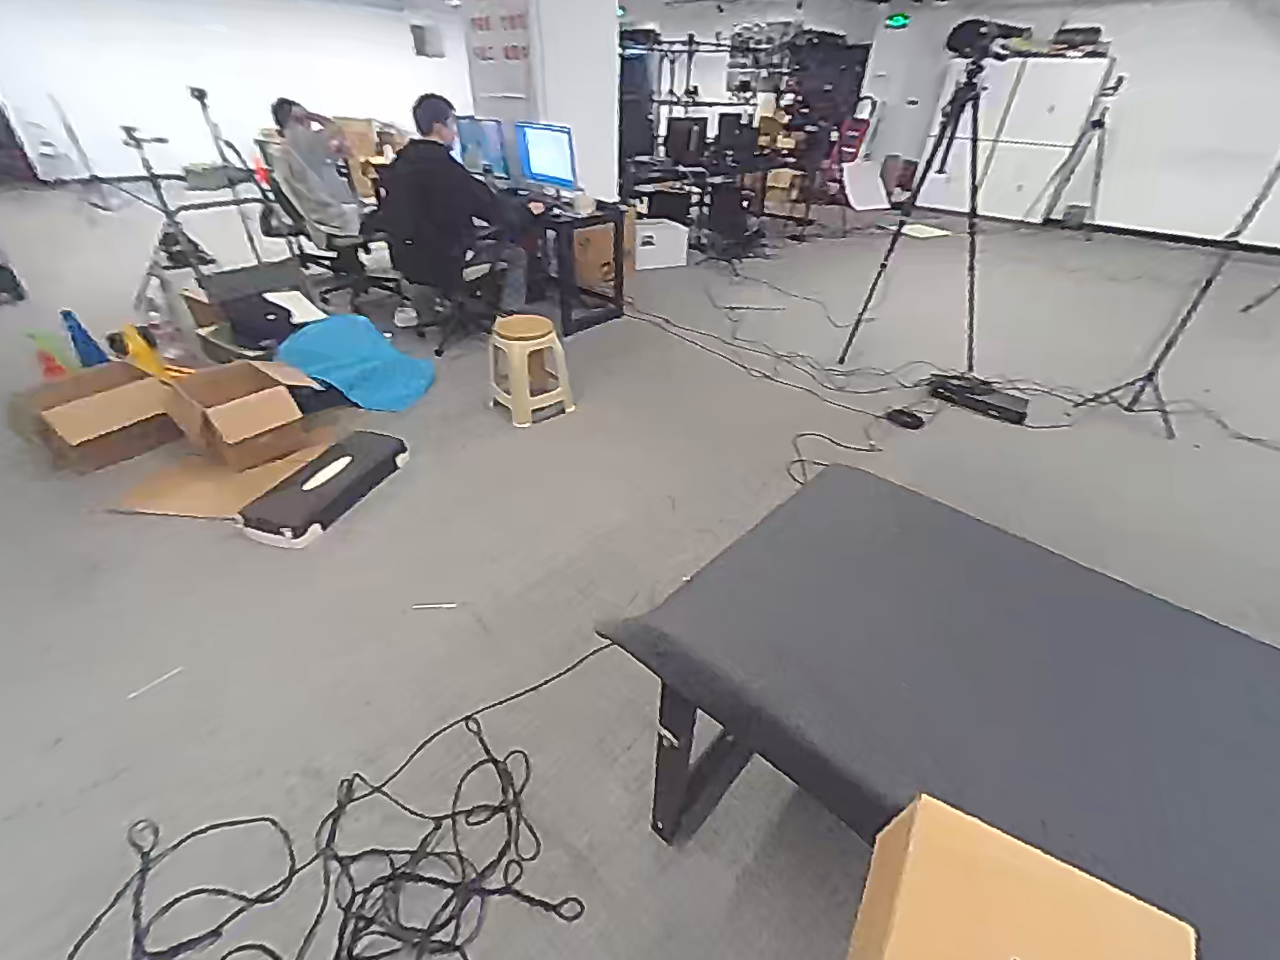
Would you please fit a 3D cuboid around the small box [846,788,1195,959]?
[{"bbox_3d":[0.257,0.372,0.400,0.168,0.176,0.179,19,55,24],"label":"small box"}]
